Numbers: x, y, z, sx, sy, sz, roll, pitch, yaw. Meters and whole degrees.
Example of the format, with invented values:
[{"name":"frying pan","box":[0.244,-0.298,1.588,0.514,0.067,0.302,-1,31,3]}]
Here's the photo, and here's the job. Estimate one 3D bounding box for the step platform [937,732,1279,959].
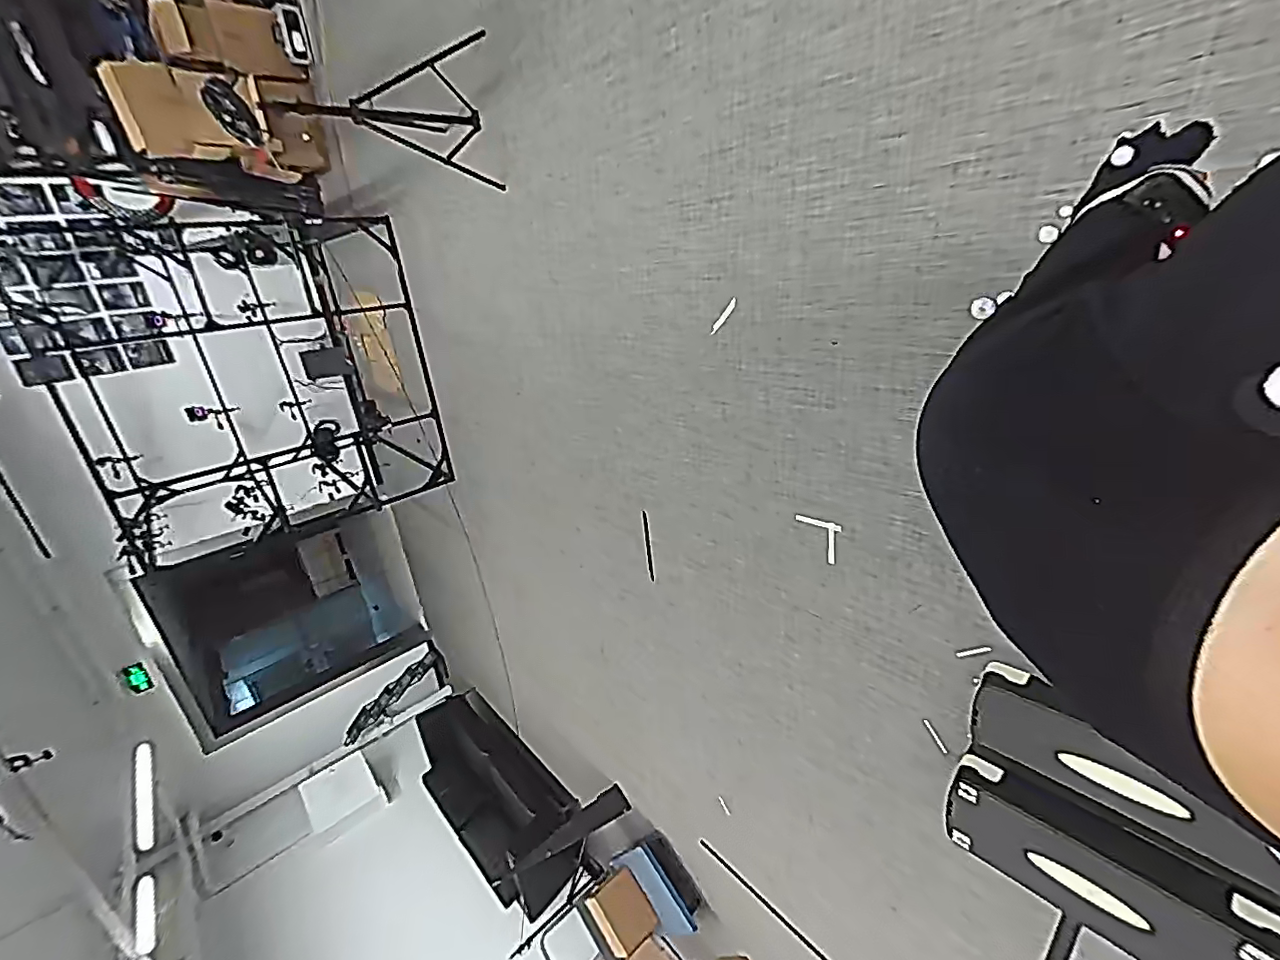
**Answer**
[{"name":"step platform","box":[1.186,1.002,1.454,0.684,0.204,0.286,18,122,47]}]
